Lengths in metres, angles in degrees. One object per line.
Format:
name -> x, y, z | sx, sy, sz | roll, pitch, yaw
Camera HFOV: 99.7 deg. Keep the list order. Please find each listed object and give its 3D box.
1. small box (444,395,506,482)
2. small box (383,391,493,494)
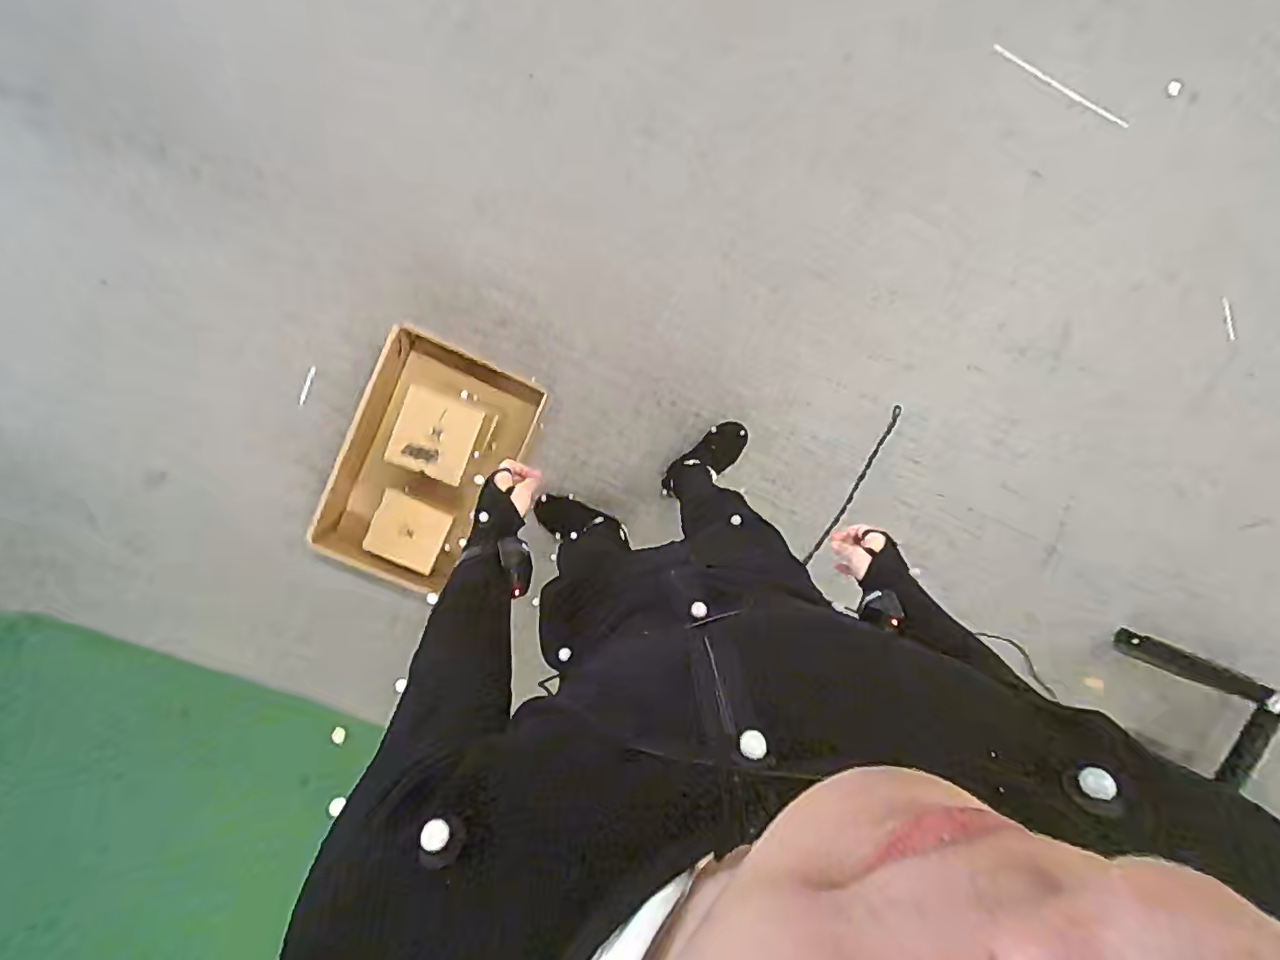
small box -> -0.465, -0.114, 1.392 | 0.179, 0.176, 0.168 | 27, 95, -9
small box -> -0.448, -0.090, 1.230 | 0.168, 0.176, 0.179 | 23, 95, -9
